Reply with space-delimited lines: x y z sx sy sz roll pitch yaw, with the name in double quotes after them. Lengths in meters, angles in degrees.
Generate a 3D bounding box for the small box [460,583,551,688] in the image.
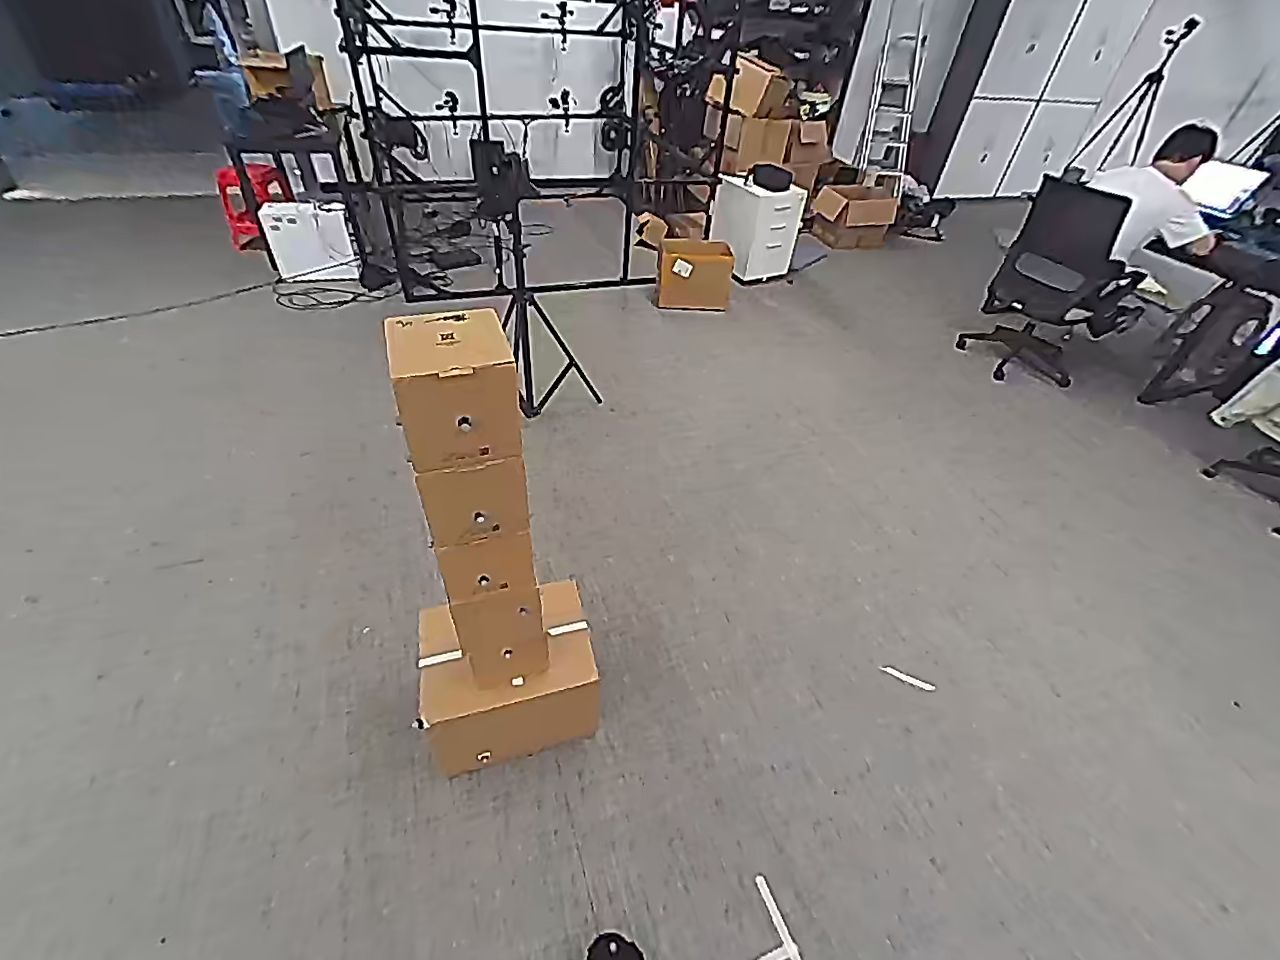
-0.314 0.361 1.267 0.179 0.176 0.168 -10 45 -18 "small box"

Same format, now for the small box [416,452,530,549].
-0.293 -0.009 0.945 0.168 0.176 0.179 -12 46 -17 "small box"

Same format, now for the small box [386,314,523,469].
-0.282 -0.133 0.838 0.168 0.176 0.179 -12 46 -18 "small box"

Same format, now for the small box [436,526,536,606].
-0.303 0.114 1.053 0.168 0.176 0.179 -11 45 -17 "small box"
